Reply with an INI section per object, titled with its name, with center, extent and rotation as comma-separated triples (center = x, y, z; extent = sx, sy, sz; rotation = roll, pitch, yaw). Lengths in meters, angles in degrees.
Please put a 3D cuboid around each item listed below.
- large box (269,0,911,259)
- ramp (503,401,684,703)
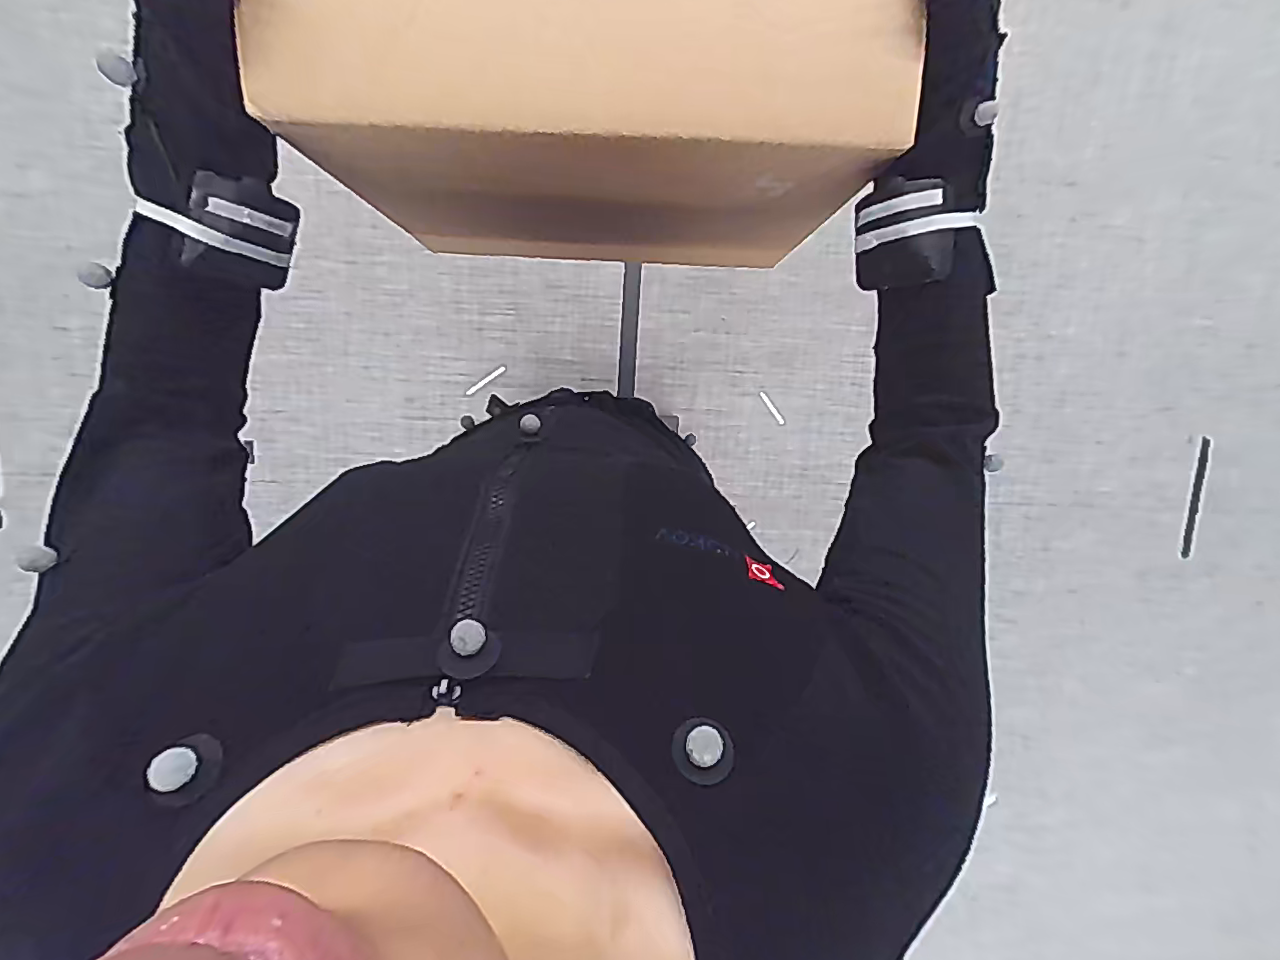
[large box]
center = -0.032, -0.394, 0.470
extent = 0.408, 0.320, 0.320
rotation = 1, 99, -2
[ramp]
center = -0.140, 0.263, 1.617
extent = 0.509, 0.206, 0.991
rotation = 0, 100, -2
